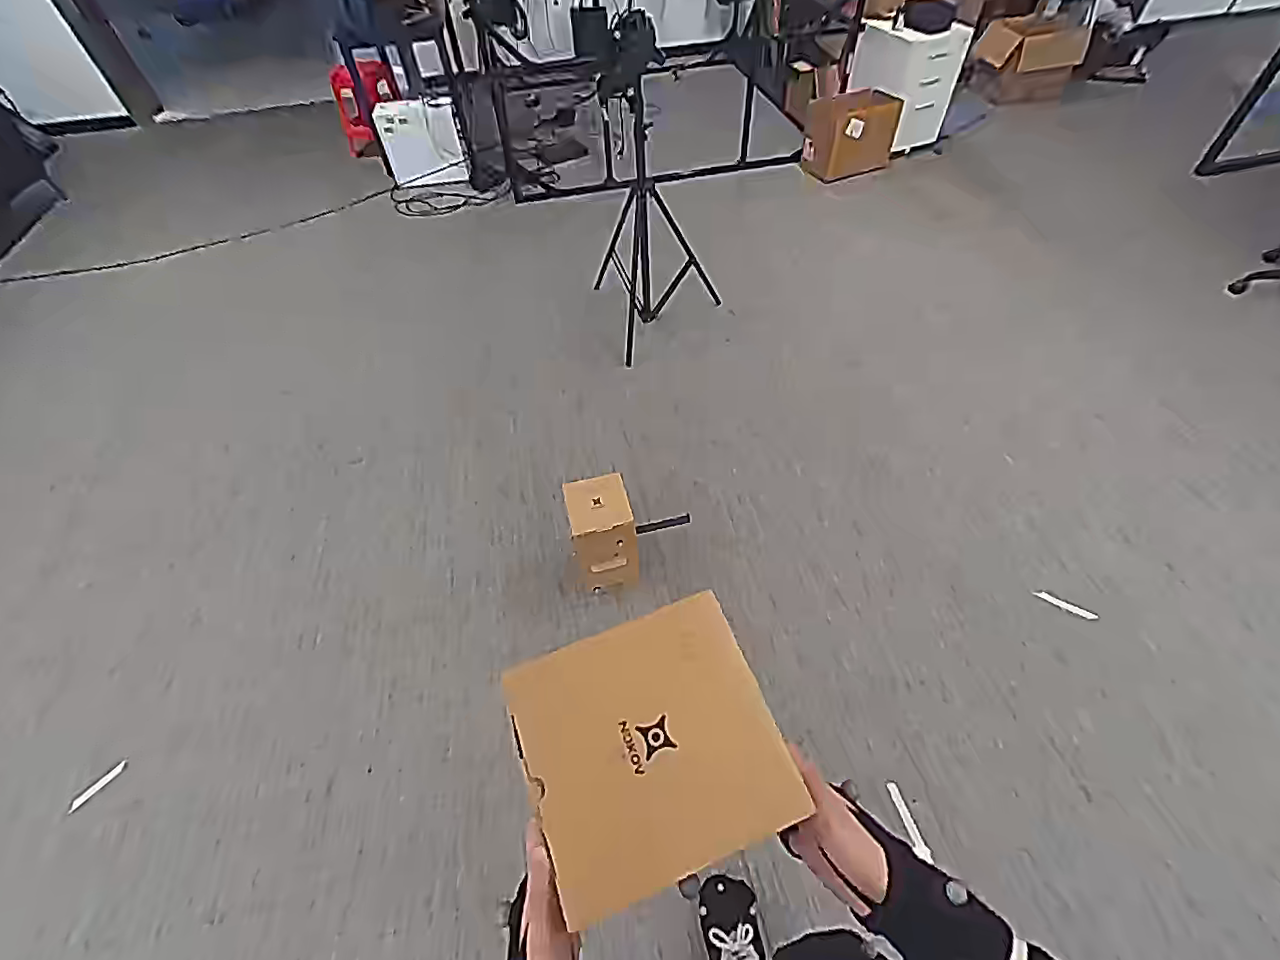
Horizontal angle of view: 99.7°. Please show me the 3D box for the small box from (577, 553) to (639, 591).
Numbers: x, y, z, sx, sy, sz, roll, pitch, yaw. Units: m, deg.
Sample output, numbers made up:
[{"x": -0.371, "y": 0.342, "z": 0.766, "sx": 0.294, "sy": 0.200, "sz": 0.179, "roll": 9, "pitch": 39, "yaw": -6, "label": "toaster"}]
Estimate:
[{"x": -0.102, "y": 0.216, "z": 1.623, "sx": 0.168, "sy": 0.176, "sz": 0.179, "roll": -13, "pitch": 52, "yaw": -7, "label": "small box"}]

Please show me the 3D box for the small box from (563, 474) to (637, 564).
[{"x": -0.108, "y": 0.115, "z": 1.496, "sx": 0.168, "sy": 0.176, "sz": 0.179, "roll": -13, "pitch": 51, "yaw": -8, "label": "small box"}]

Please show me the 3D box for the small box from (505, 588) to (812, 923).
[{"x": 0.008, "y": 0.214, "z": 0.452, "sx": 0.179, "sy": 0.176, "sz": 0.168, "roll": -20, "pitch": 64, "yaw": -9, "label": "small box"}]
